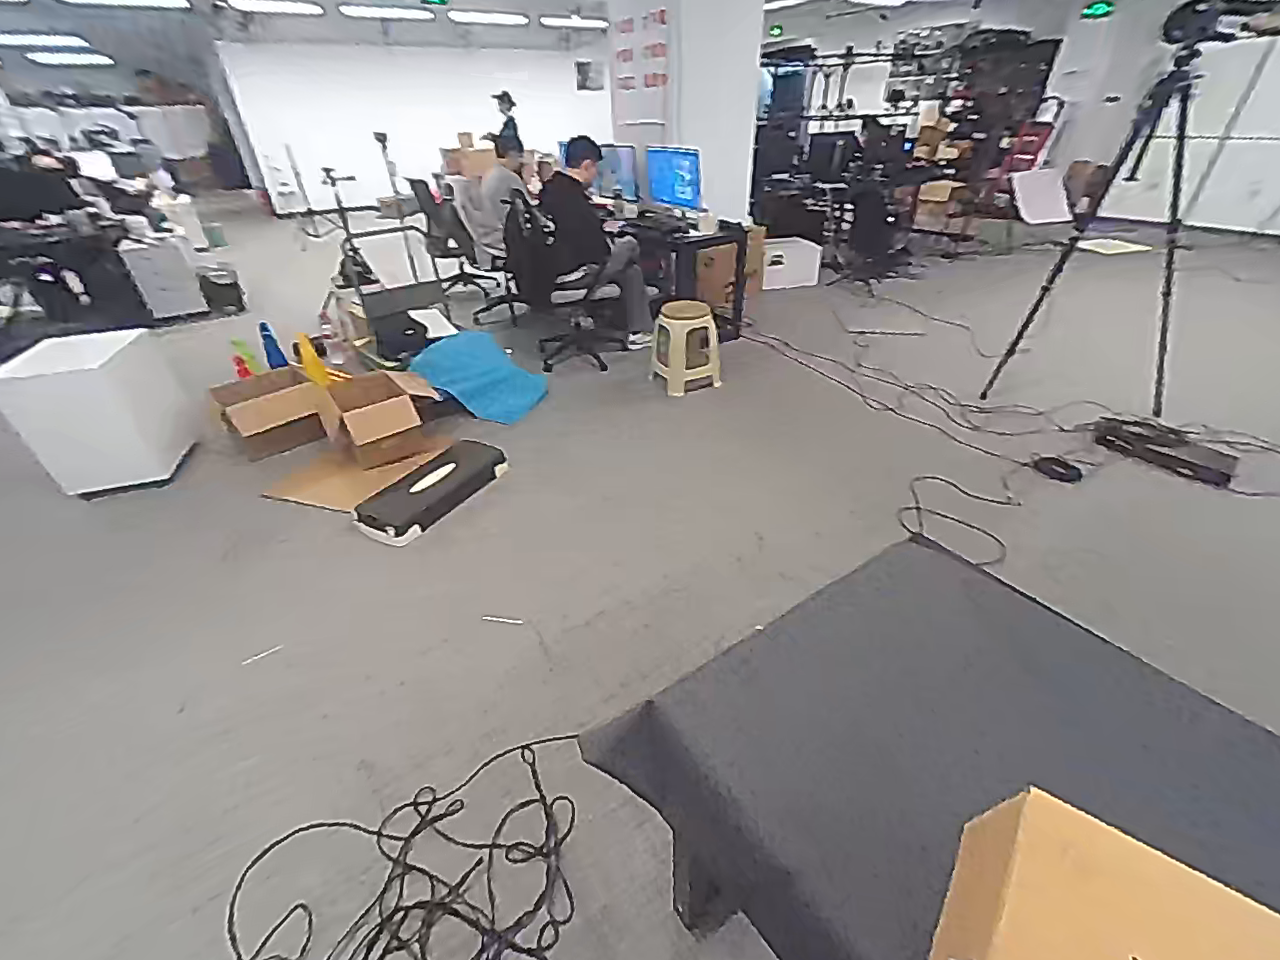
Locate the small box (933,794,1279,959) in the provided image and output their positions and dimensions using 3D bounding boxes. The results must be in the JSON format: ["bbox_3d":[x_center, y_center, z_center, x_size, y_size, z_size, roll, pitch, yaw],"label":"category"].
[{"bbox_3d":[0.327,0.368,0.385,0.168,0.176,0.179,23,60,27],"label":"small box"}]
